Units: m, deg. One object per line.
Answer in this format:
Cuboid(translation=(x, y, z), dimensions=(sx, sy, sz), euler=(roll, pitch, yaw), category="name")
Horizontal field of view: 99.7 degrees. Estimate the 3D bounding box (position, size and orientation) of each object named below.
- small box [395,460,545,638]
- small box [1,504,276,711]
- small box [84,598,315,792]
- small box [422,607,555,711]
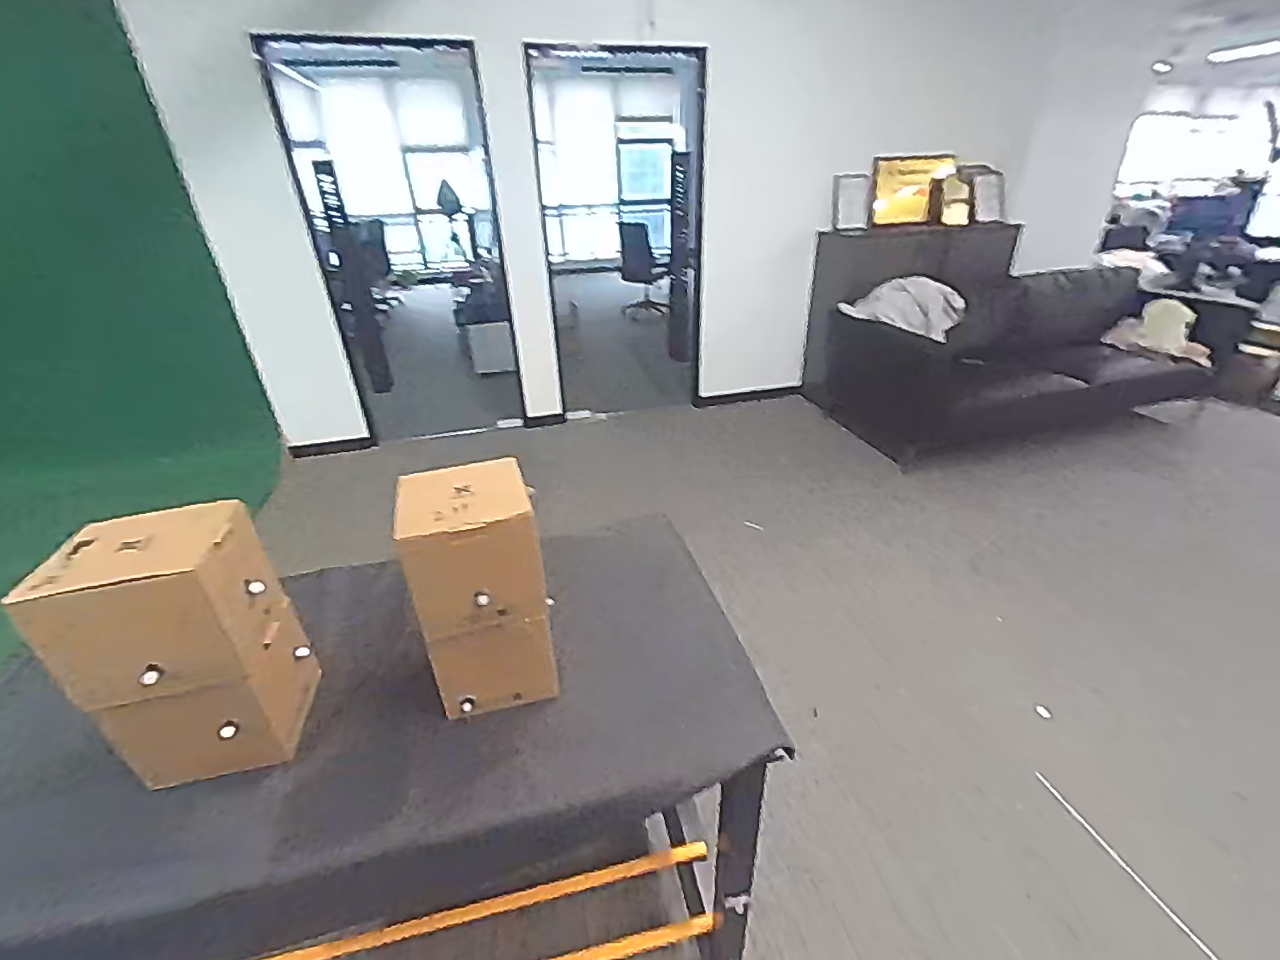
Cuboid(translation=(-0.238, 0.091, 0.768), dimensions=(0.168, 0.176, 0.179), euler=(-12, 30, -17), category="small box")
Cuboid(translation=(-0.592, 0.153, 0.676), dimensions=(0.179, 0.176, 0.168), euler=(-9, 28, -15), category="small box")
Cuboid(translation=(-0.589, 0.296, 0.758), dimensions=(0.179, 0.176, 0.168), euler=(-9, 28, -12), category="small box")
Cuboid(translation=(-0.231, 0.235, 0.848), dimensions=(0.168, 0.176, 0.179), euler=(-8, 28, -12), category="small box")
